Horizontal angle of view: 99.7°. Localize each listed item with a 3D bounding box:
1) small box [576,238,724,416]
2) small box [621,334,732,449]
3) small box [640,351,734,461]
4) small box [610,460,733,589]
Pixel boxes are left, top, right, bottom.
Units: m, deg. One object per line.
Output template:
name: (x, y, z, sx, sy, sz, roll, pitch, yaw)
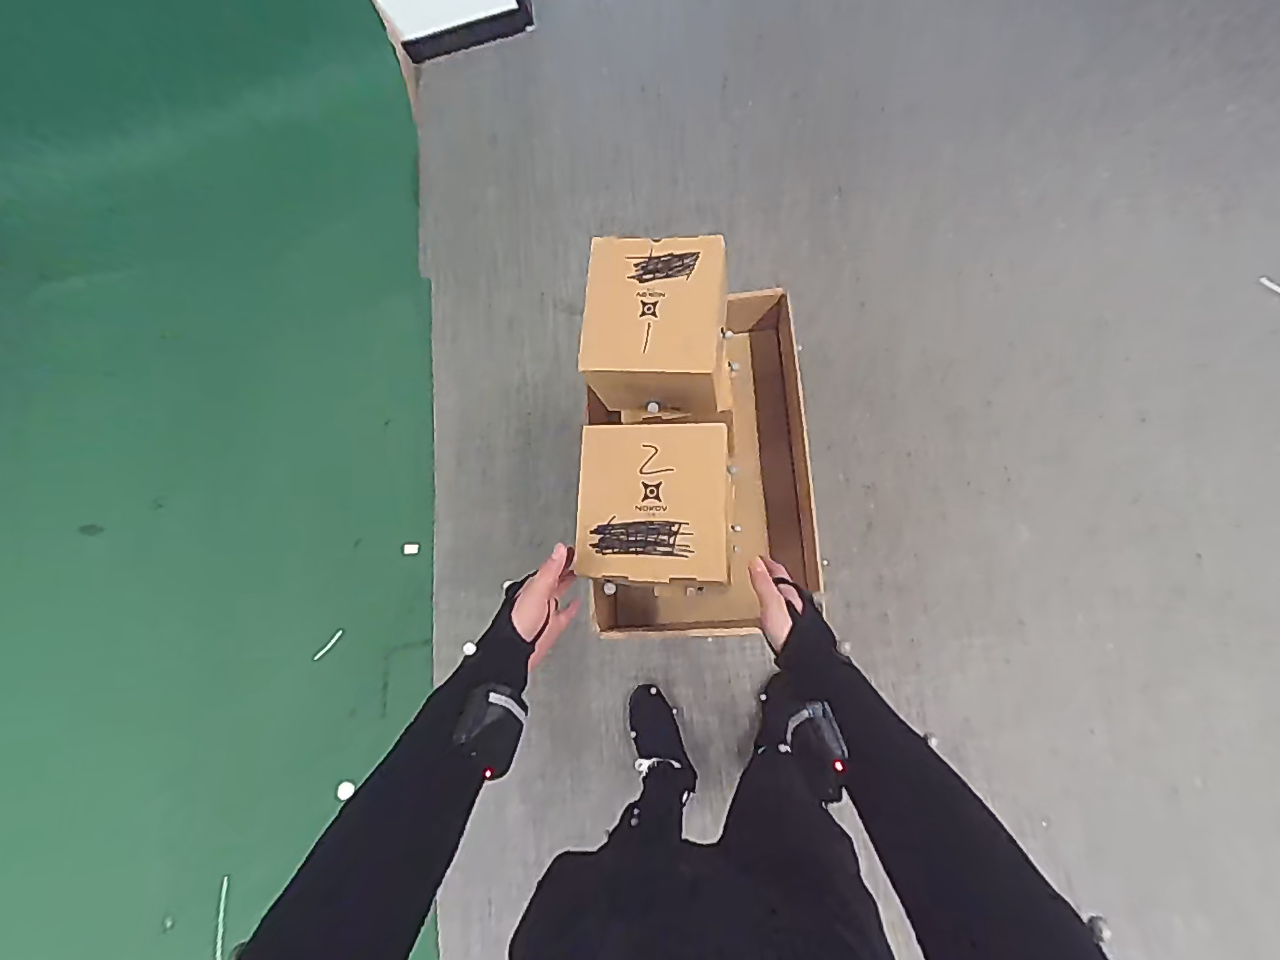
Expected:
small box: (0.024, -0.198, 0.727, 0.168, 0.176, 0.179, 4, 81, 11)
small box: (0.060, -0.162, 0.884, 0.168, 0.176, 0.179, -6, 78, 9)
small box: (0.092, -0.135, 1.039, 0.168, 0.176, 0.179, -5, 80, 11)
small box: (0.056, 0.074, 0.828, 0.168, 0.176, 0.179, 0, 77, 10)
